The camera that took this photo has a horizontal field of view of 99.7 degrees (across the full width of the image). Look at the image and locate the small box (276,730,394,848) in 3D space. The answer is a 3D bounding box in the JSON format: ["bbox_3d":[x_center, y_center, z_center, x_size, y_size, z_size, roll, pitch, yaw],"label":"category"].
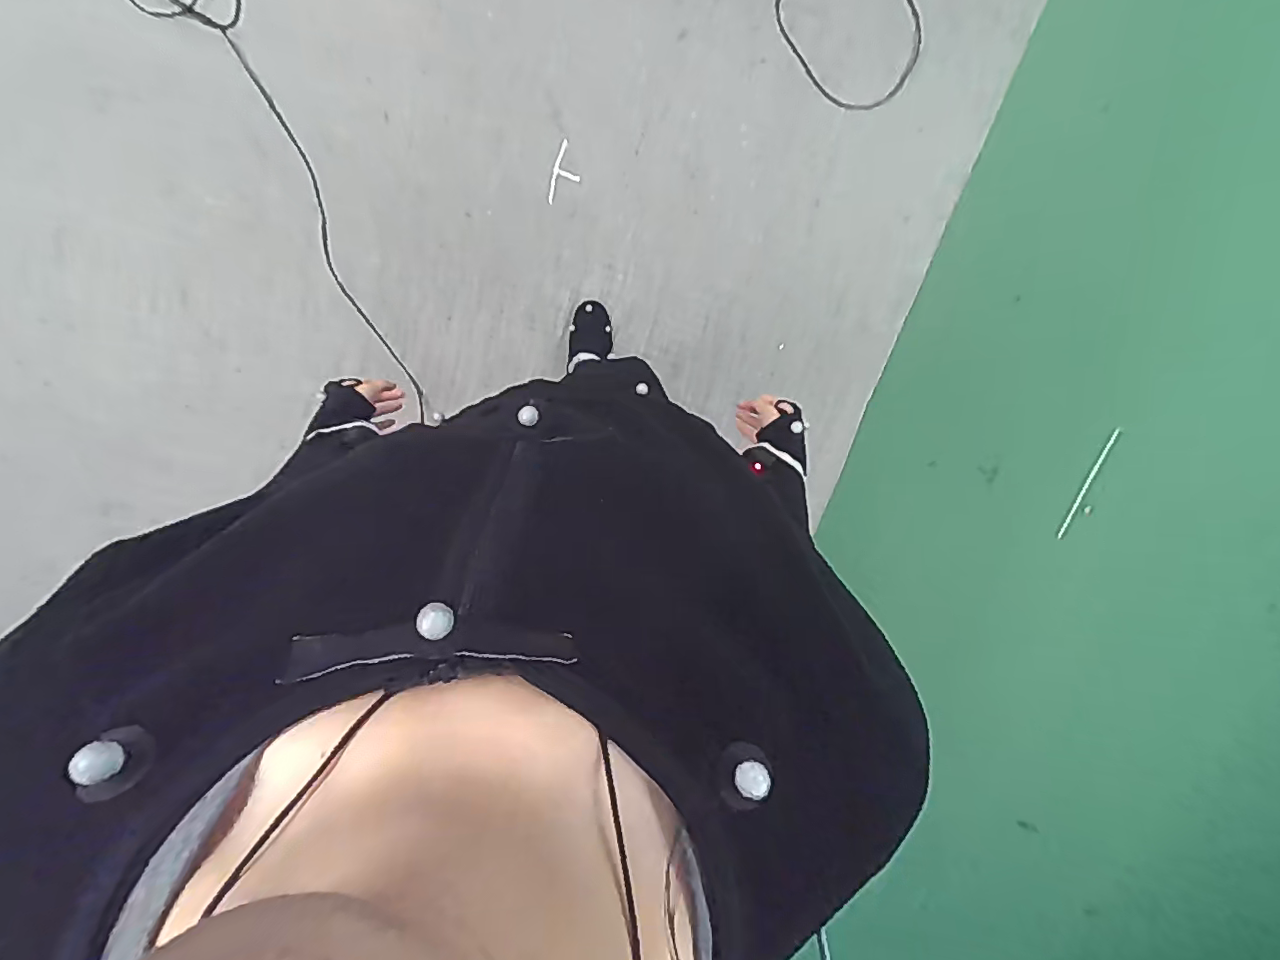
[{"bbox_3d":[-0.754,0.768,1.360,0.179,0.176,0.168,30,99,-13],"label":"small box"}]
